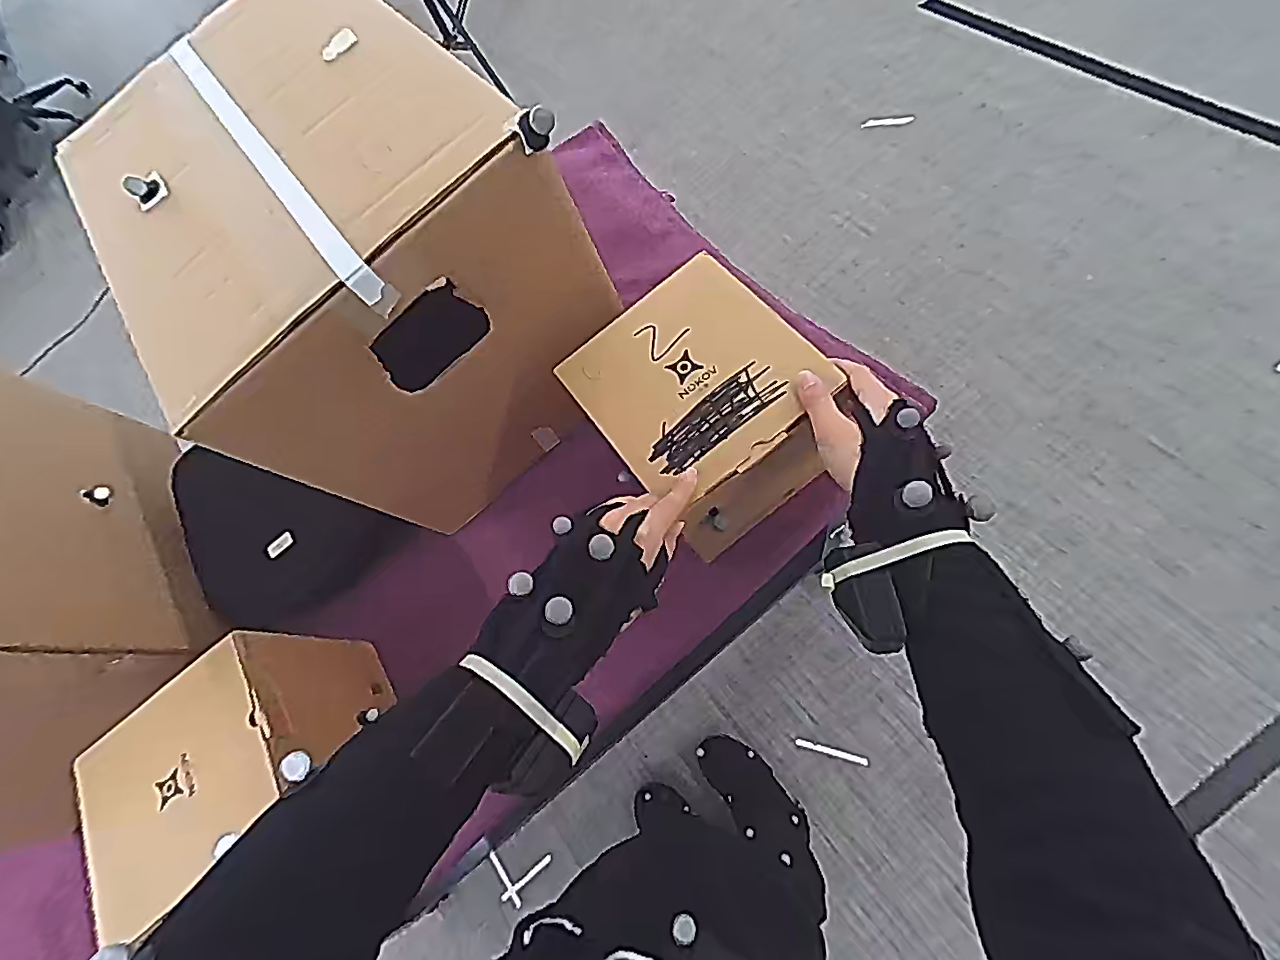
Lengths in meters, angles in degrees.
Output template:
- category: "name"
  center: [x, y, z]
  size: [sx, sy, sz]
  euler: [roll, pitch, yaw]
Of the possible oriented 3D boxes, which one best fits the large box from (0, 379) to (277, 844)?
- category: "large box"
  center: [-0.699, 0.125, 0.575]
  size: [0.320, 0.320, 0.408]
  euler: [-43, 68, -2]
